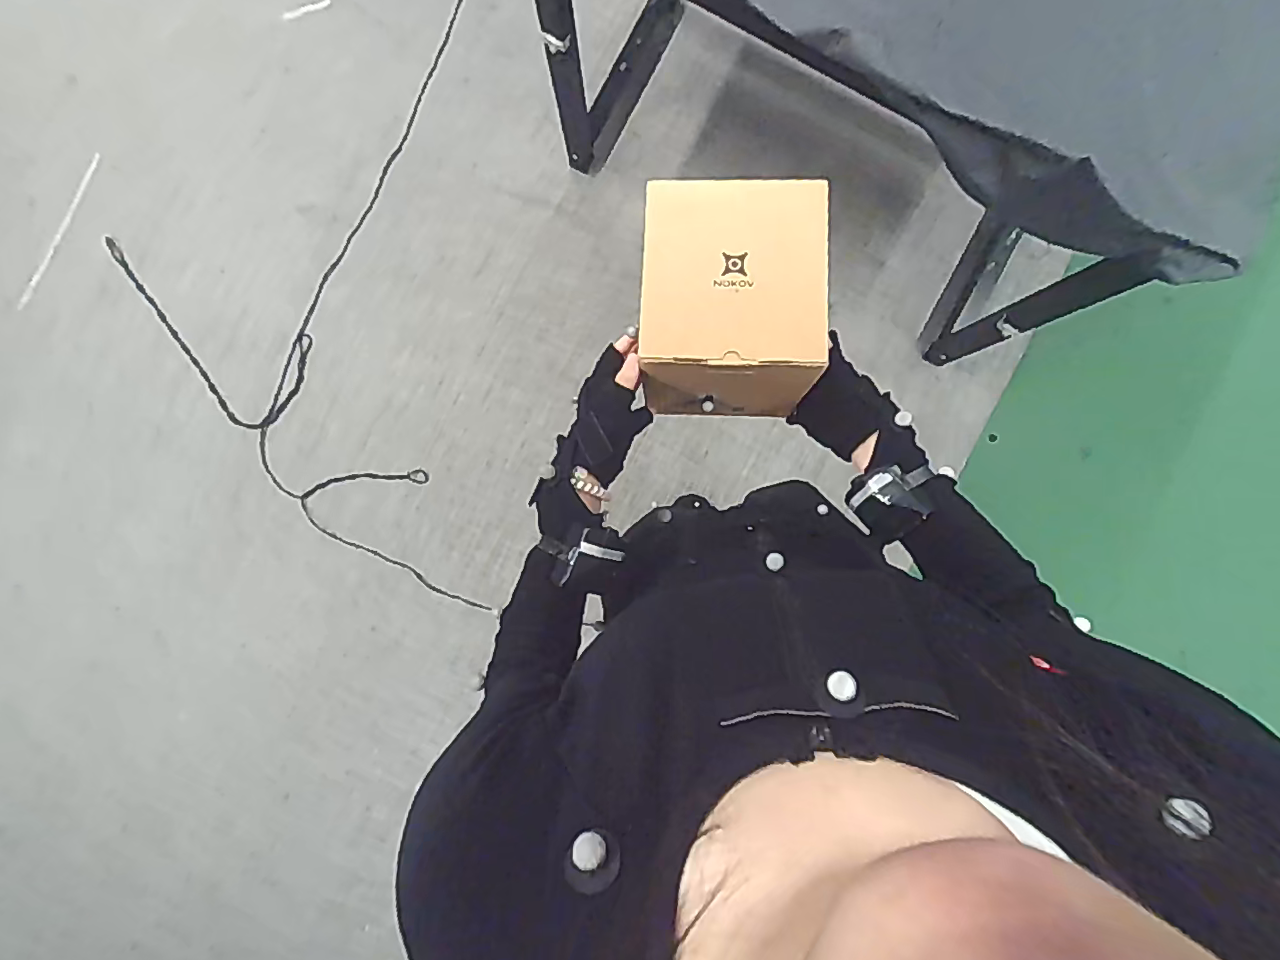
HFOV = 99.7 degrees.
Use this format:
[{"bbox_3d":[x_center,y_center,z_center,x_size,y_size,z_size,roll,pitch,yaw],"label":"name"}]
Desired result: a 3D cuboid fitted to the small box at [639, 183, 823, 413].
[{"bbox_3d":[0.088,-0.180,0.573,0.168,0.176,0.179,2,83,4],"label":"small box"}]
